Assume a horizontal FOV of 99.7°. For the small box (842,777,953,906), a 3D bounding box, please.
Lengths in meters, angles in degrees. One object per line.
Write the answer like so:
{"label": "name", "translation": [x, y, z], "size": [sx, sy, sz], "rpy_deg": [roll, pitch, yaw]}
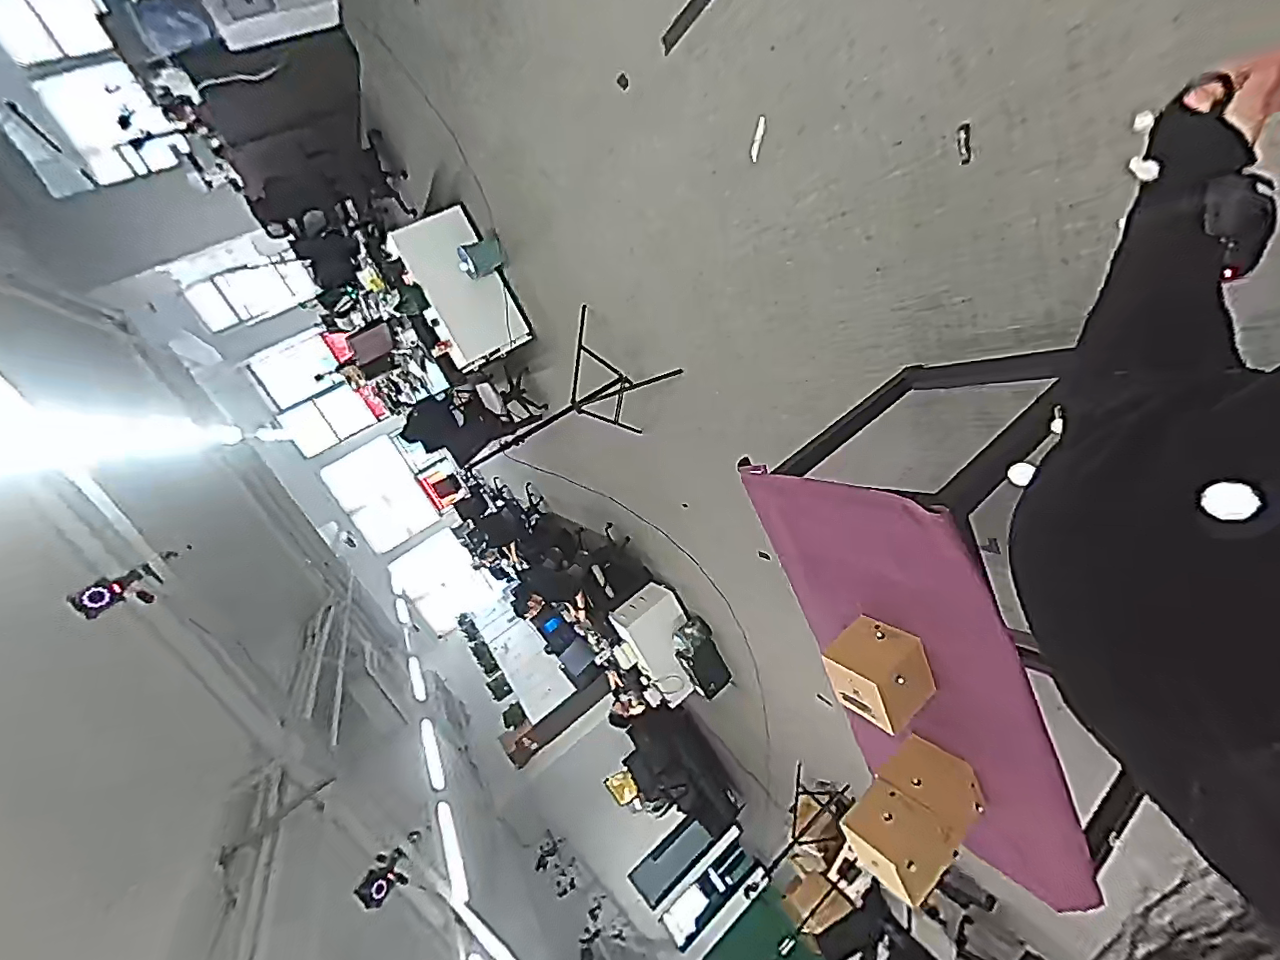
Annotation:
{"label": "small box", "translation": [0.658, 0.910, 1.380], "size": [0.168, 0.176, 0.179], "rpy_deg": [9, 130, 63]}

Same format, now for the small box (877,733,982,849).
{"label": "small box", "translation": [0.780, 0.819, 1.445], "size": [0.179, 0.176, 0.168], "rpy_deg": [10, 131, 63]}
